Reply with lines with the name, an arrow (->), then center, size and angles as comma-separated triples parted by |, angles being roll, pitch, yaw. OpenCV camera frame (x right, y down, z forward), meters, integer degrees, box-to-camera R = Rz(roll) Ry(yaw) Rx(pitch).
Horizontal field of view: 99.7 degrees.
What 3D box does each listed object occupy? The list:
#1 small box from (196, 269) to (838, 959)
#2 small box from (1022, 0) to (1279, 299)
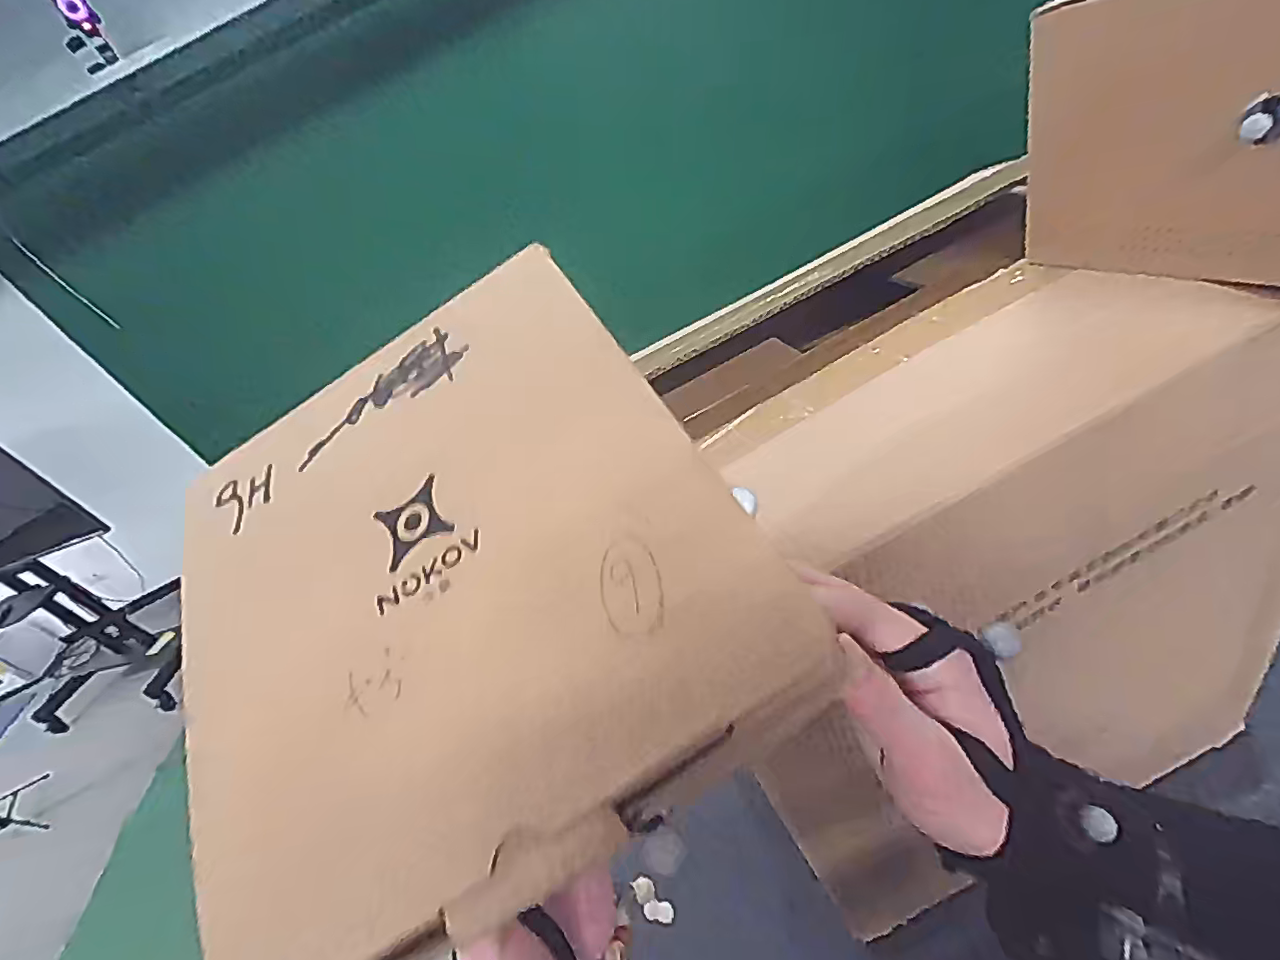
small box -> -0.037, 0.059, 0.231 | 0.168, 0.176, 0.179 | -34, 60, 1
small box -> 0.381, -0.231, 0.338 | 0.168, 0.176, 0.179 | -30, 33, -9
